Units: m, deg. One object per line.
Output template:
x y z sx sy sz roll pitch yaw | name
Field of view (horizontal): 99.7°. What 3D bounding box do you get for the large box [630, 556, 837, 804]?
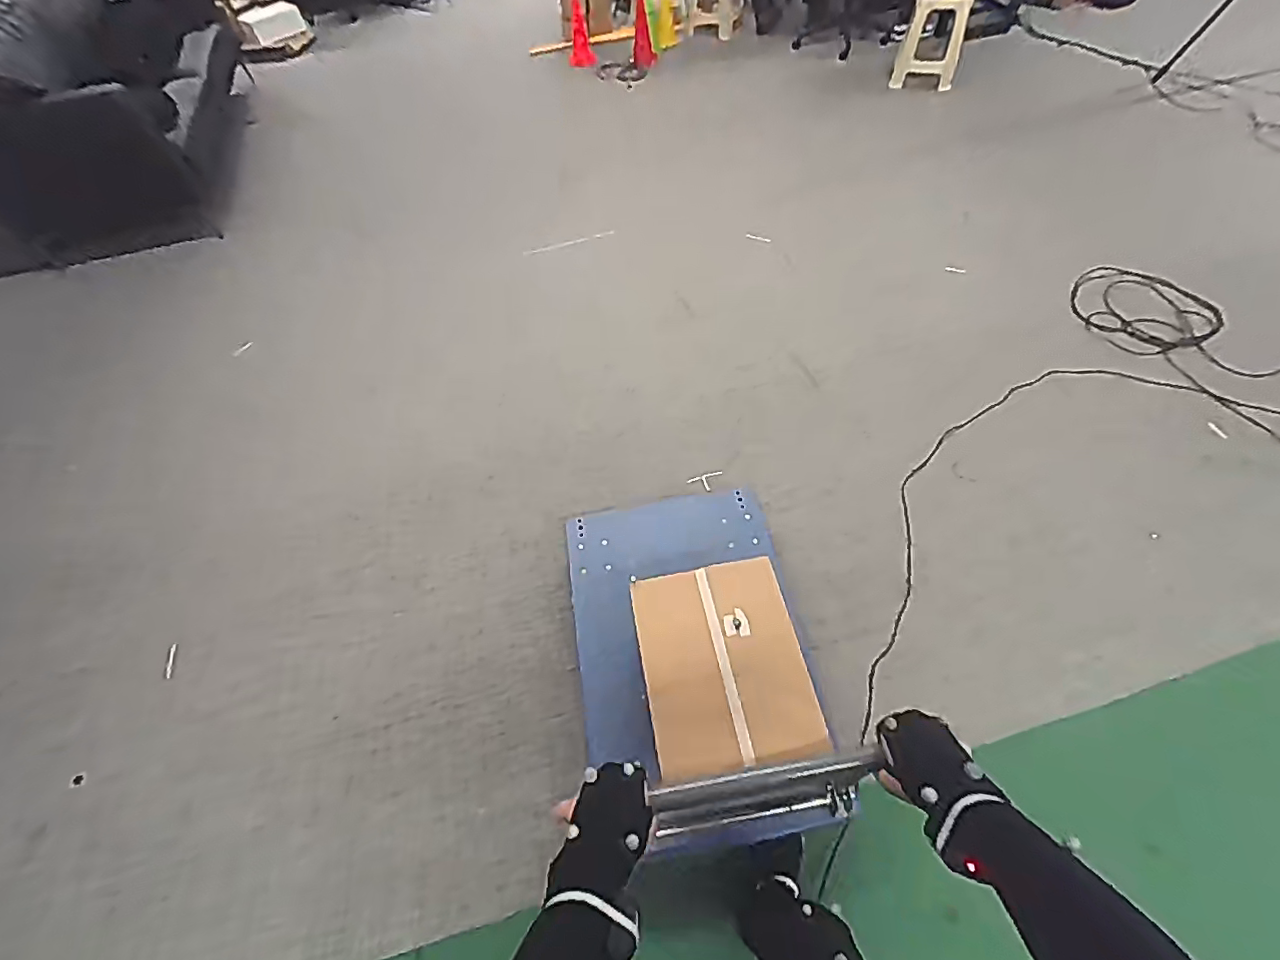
0.177 0.435 1.174 0.320 0.320 0.408 -10 55 -3 | large box
